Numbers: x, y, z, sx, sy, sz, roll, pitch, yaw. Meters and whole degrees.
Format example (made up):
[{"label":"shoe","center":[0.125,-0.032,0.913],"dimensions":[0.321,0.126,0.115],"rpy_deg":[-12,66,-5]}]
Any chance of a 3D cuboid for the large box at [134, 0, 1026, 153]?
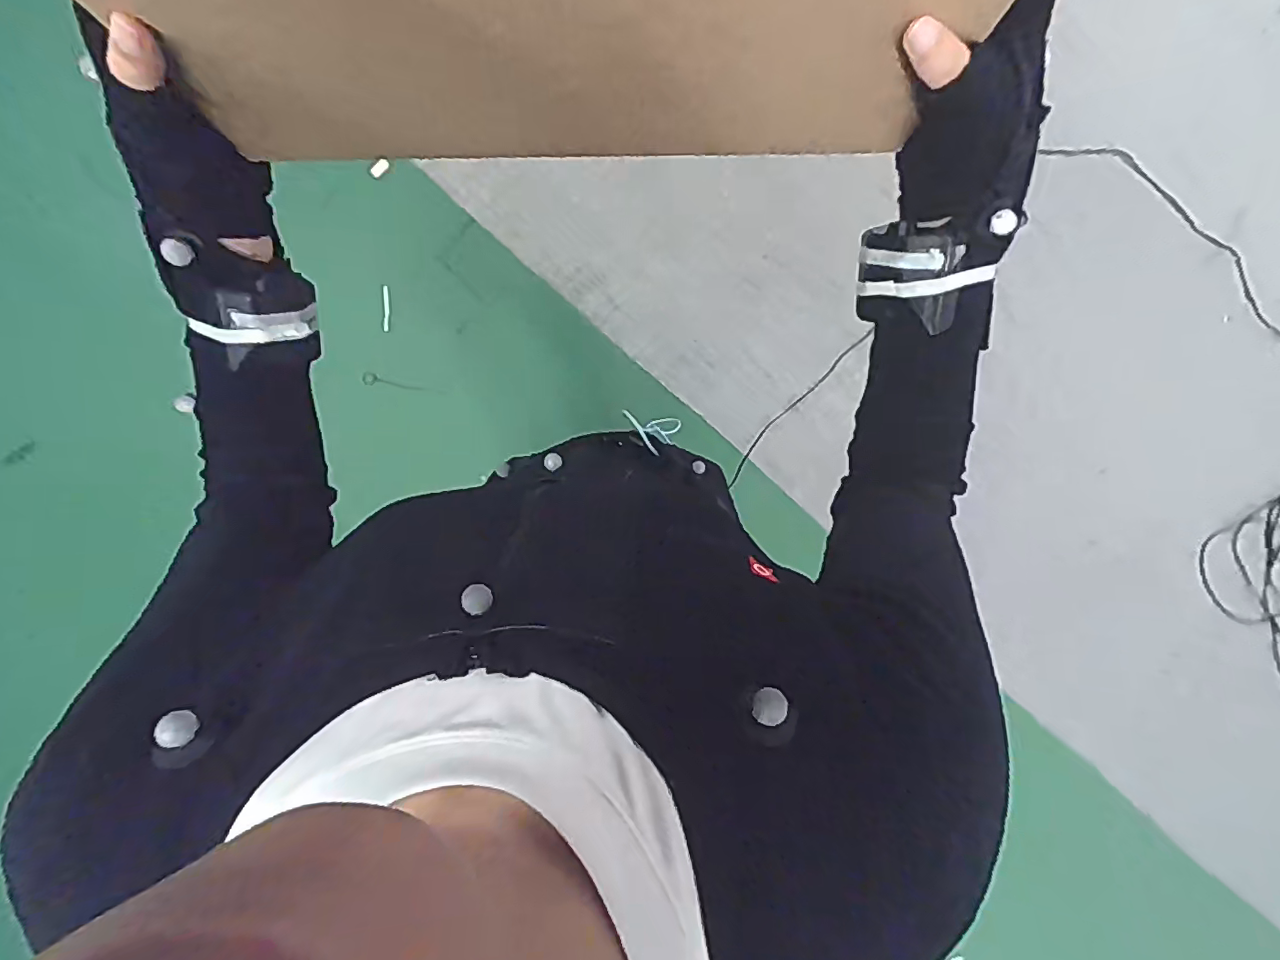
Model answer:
[{"label":"large box","center":[-0.022,-0.361,0.194],"dimensions":[0.408,0.320,0.320],"rpy_deg":[-2,87,-4]}]
